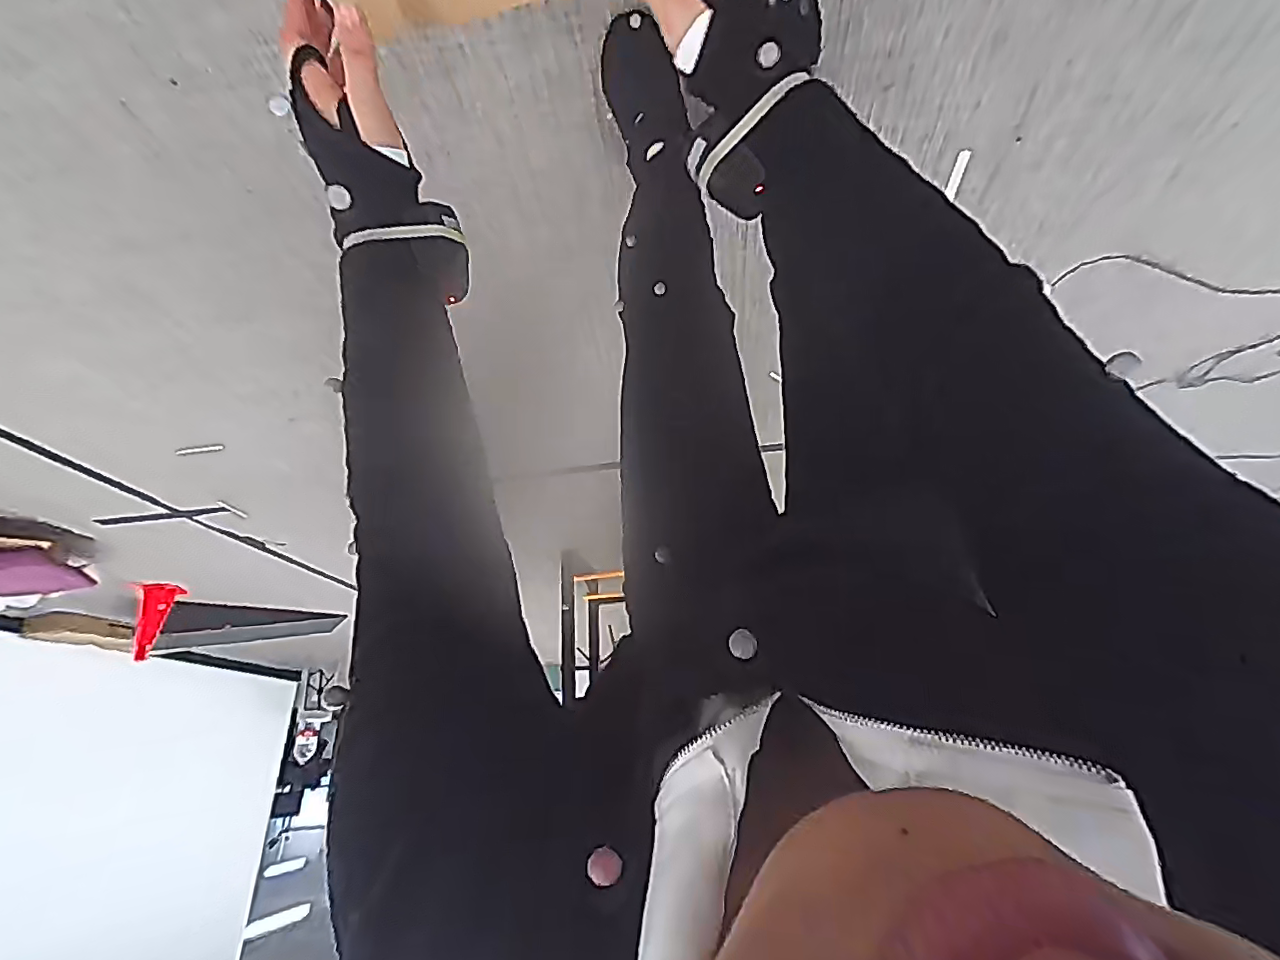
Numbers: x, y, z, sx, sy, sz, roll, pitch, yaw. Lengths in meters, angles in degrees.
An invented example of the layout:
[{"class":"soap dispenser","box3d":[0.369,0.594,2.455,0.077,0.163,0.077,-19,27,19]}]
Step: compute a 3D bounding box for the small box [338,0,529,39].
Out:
[{"class":"small box","box3d":[-0.148,-0.448,0.356,0.168,0.176,0.179,-8,152,6]}]
